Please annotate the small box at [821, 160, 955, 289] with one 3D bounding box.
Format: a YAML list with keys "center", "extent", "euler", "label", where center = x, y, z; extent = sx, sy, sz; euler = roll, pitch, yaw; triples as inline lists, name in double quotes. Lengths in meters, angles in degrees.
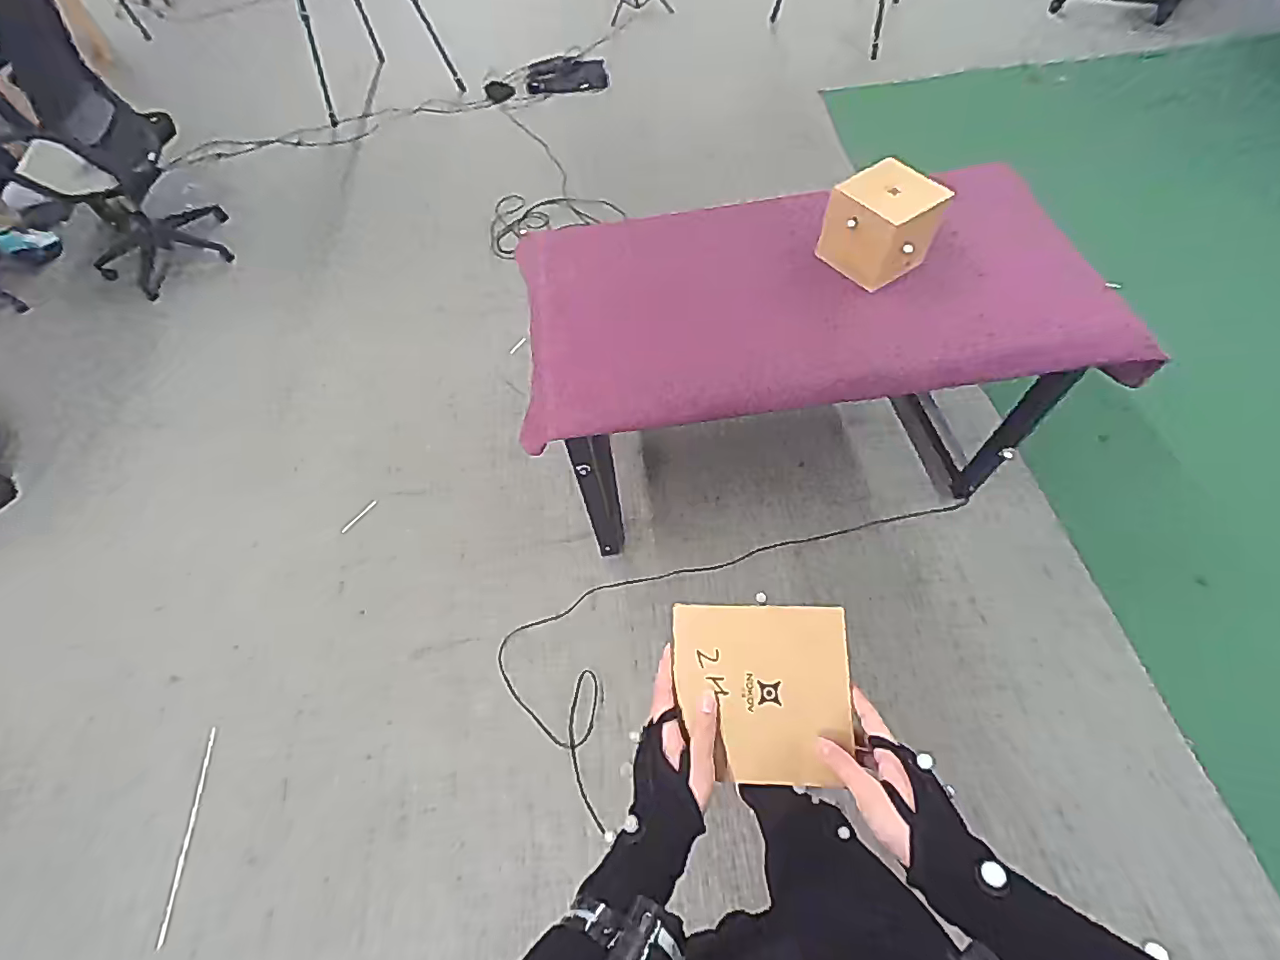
- center: [0.520, -0.539, 1.161]
  extent: [0.168, 0.176, 0.179]
  euler: [-32, 61, -13]
  label: "small box"

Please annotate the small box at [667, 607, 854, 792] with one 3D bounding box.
- center: [0.121, 0.229, 0.603]
  extent: [0.179, 0.176, 0.168]
  euler: [-1, 75, 6]
  label: "small box"
